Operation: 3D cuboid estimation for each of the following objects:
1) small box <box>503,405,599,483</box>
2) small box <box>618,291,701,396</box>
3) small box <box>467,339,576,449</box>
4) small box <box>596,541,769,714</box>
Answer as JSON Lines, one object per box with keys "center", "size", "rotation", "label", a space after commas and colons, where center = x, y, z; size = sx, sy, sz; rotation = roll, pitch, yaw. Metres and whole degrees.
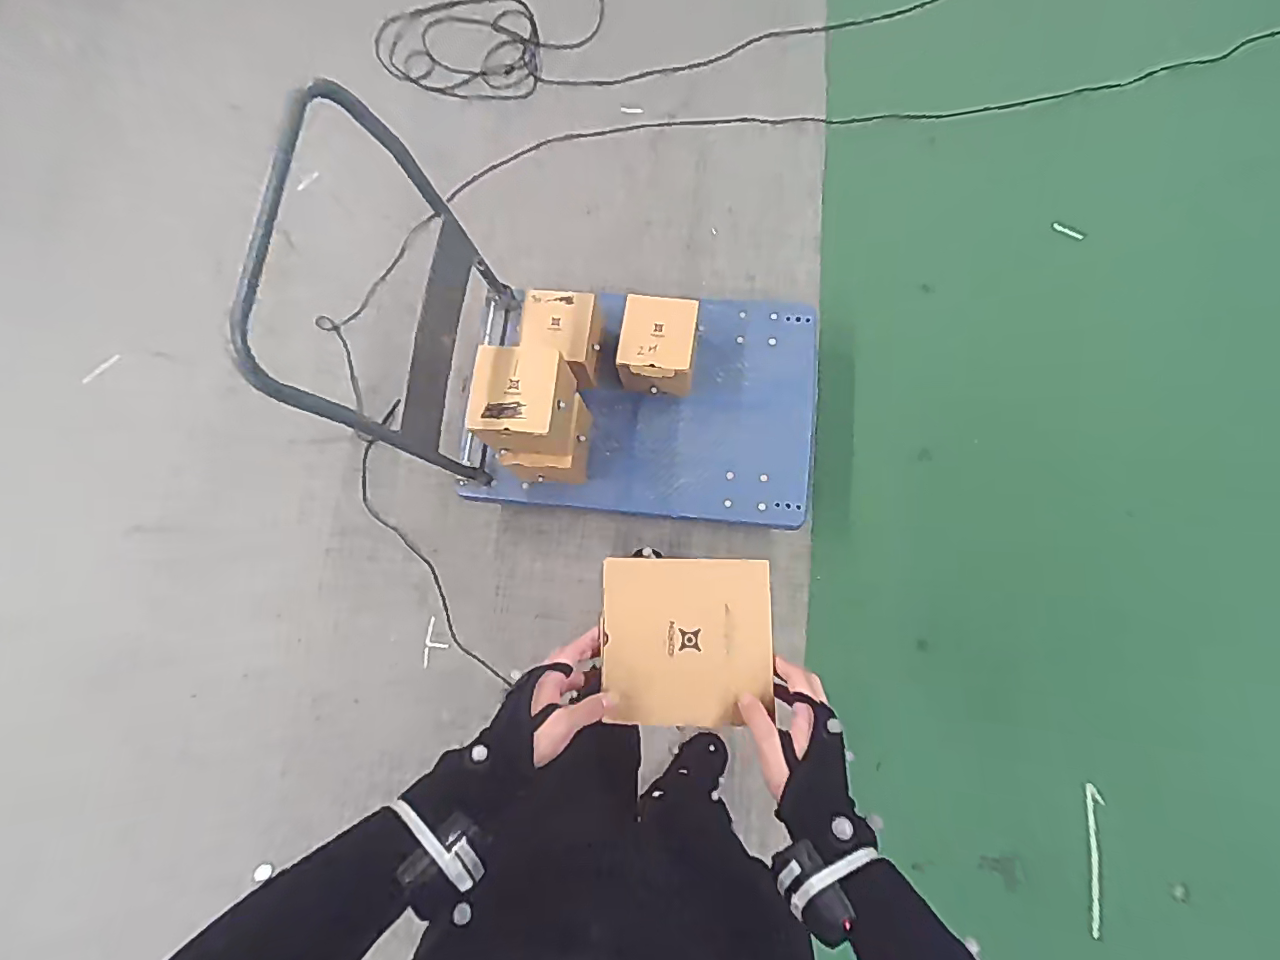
{"center": [-0.222, -0.112, 1.278], "size": [0.179, 0.176, 0.168], "rotation": [36, 85, 12], "label": "small box"}
{"center": [0.050, -0.321, 1.290], "size": [0.168, 0.176, 0.179], "rotation": [9, 79, 7], "label": "small box"}
{"center": [-0.235, -0.169, 1.115], "size": [0.168, 0.176, 0.179], "rotation": [6, 78, 5], "label": "small box"}
{"center": [0.050, 0.163, 0.632], "size": [0.179, 0.176, 0.168], "rotation": [2, 80, 3], "label": "small box"}
